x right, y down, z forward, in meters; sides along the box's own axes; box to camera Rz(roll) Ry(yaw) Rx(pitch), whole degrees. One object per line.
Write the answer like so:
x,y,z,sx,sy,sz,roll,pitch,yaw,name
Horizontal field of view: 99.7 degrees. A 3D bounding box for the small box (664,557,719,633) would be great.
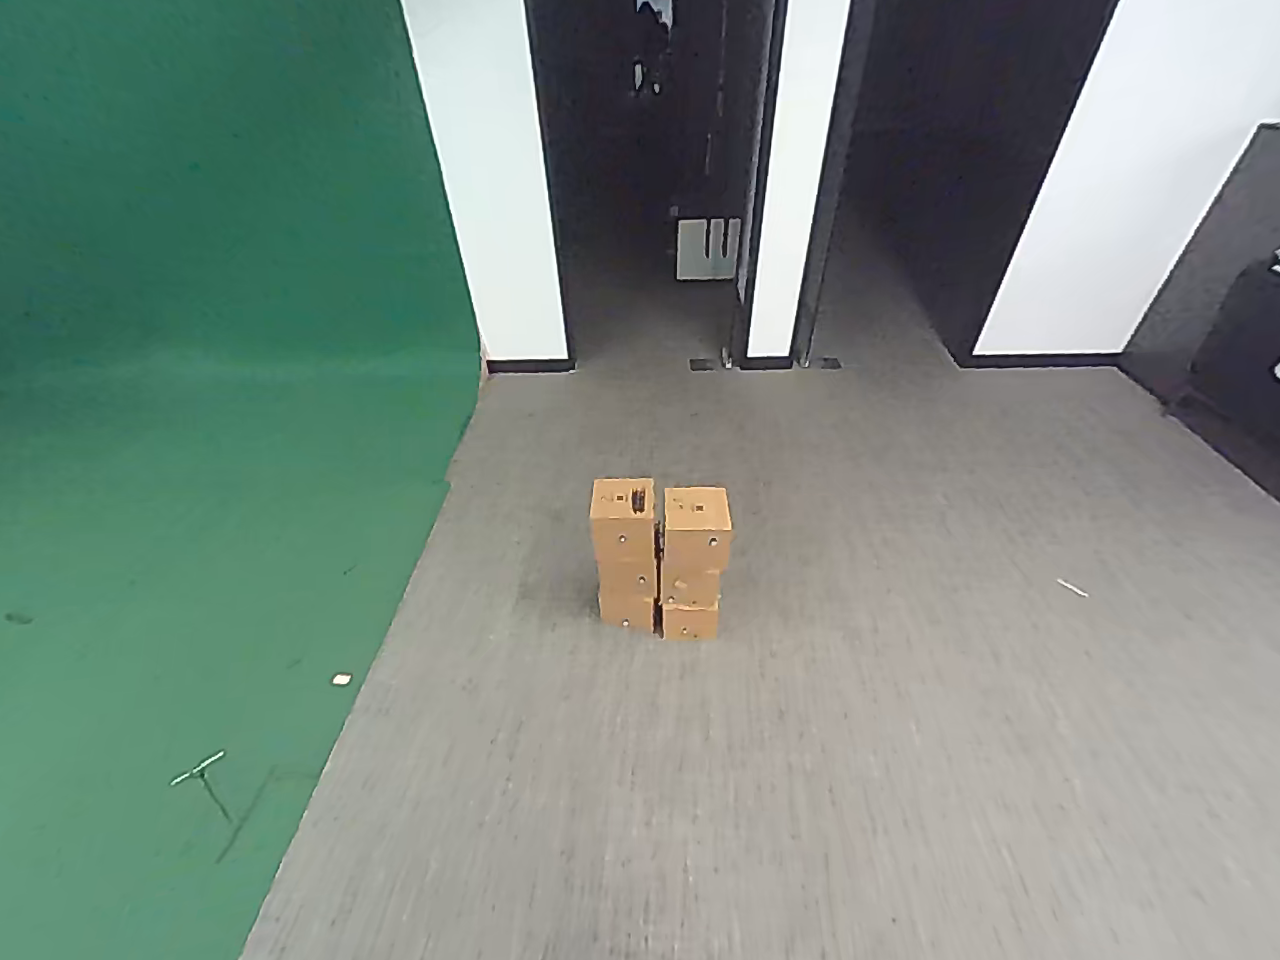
0.159,0.369,1.734,0.168,0.176,0.179,0,43,3,small box
